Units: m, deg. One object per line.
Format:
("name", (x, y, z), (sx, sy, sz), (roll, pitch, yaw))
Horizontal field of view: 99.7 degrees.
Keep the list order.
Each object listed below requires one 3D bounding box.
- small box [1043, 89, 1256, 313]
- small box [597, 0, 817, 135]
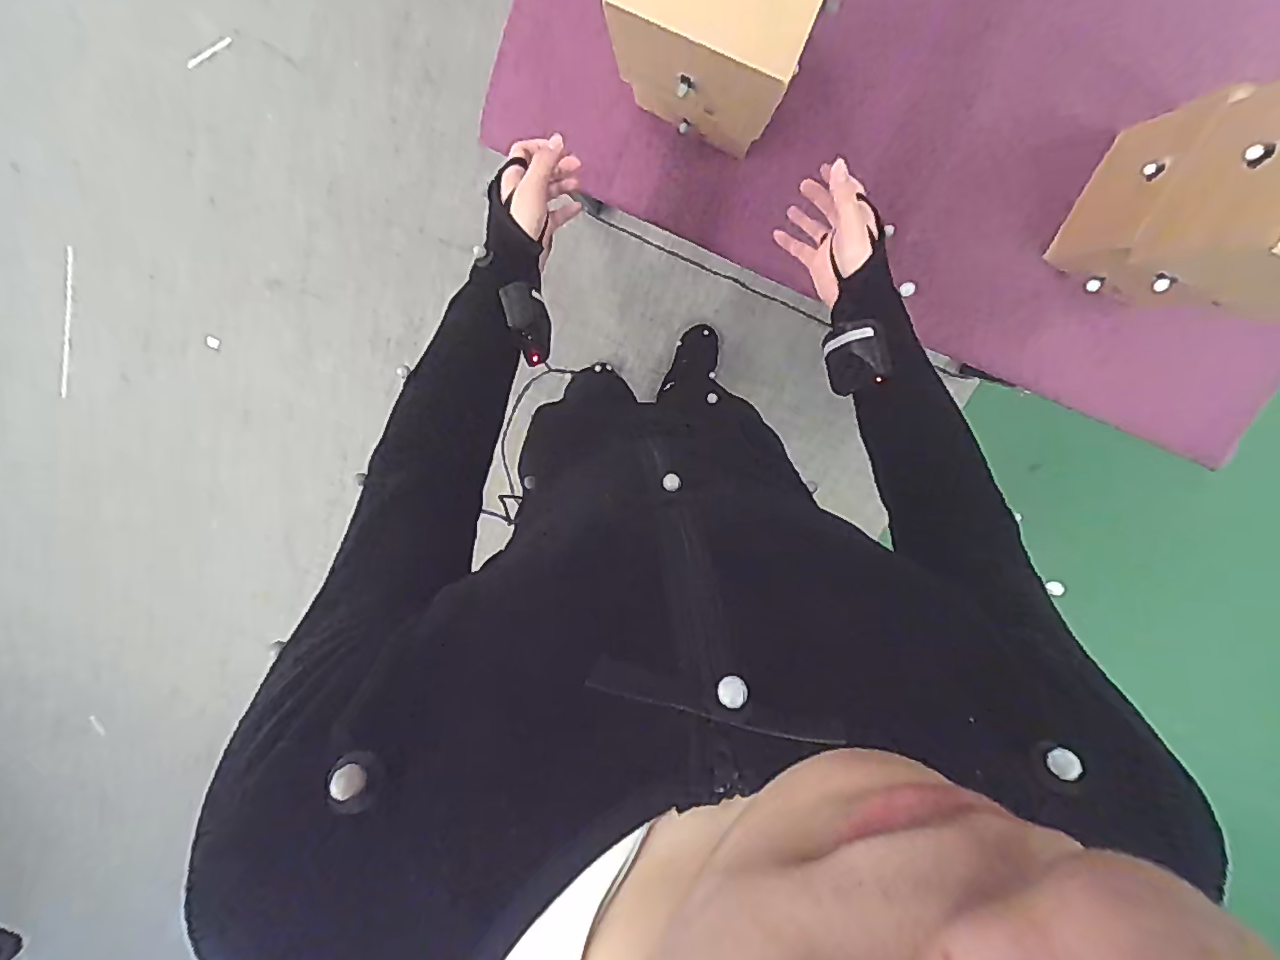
("small box", (0.658, -0.323, 0.666), (0.168, 0.176, 0.179), (25, 107, -3))
("small box", (0.077, -0.451, 0.488), (0.168, 0.176, 0.179), (22, 109, -4))
